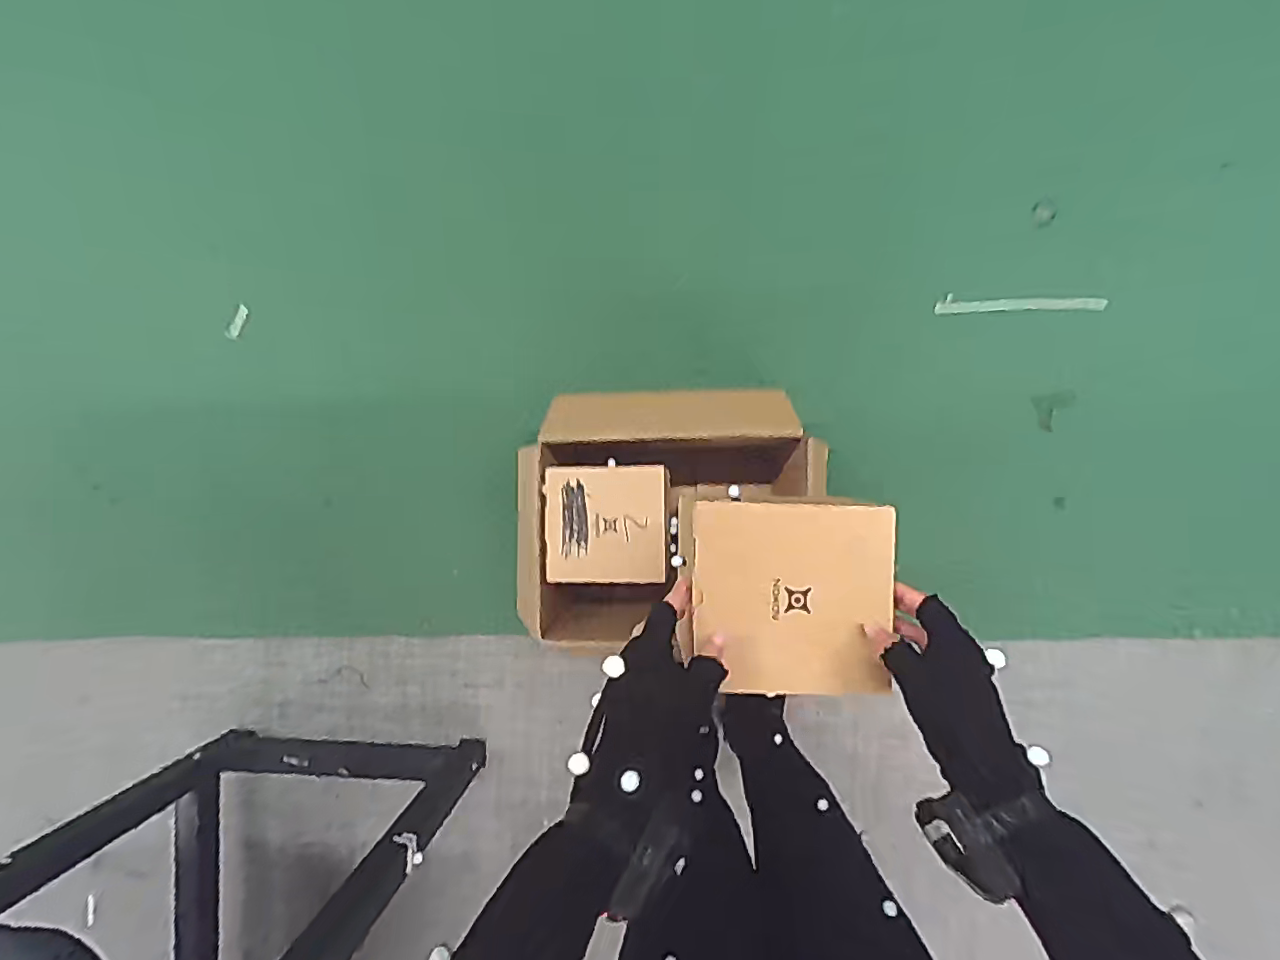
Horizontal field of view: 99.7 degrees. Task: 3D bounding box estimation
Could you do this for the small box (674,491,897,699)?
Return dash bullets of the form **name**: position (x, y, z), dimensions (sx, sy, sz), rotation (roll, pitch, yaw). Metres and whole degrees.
- **small box**: position (0.125, 0.097, 0.529), dimensions (0.179, 0.176, 0.168), rotation (1, 91, 2)
